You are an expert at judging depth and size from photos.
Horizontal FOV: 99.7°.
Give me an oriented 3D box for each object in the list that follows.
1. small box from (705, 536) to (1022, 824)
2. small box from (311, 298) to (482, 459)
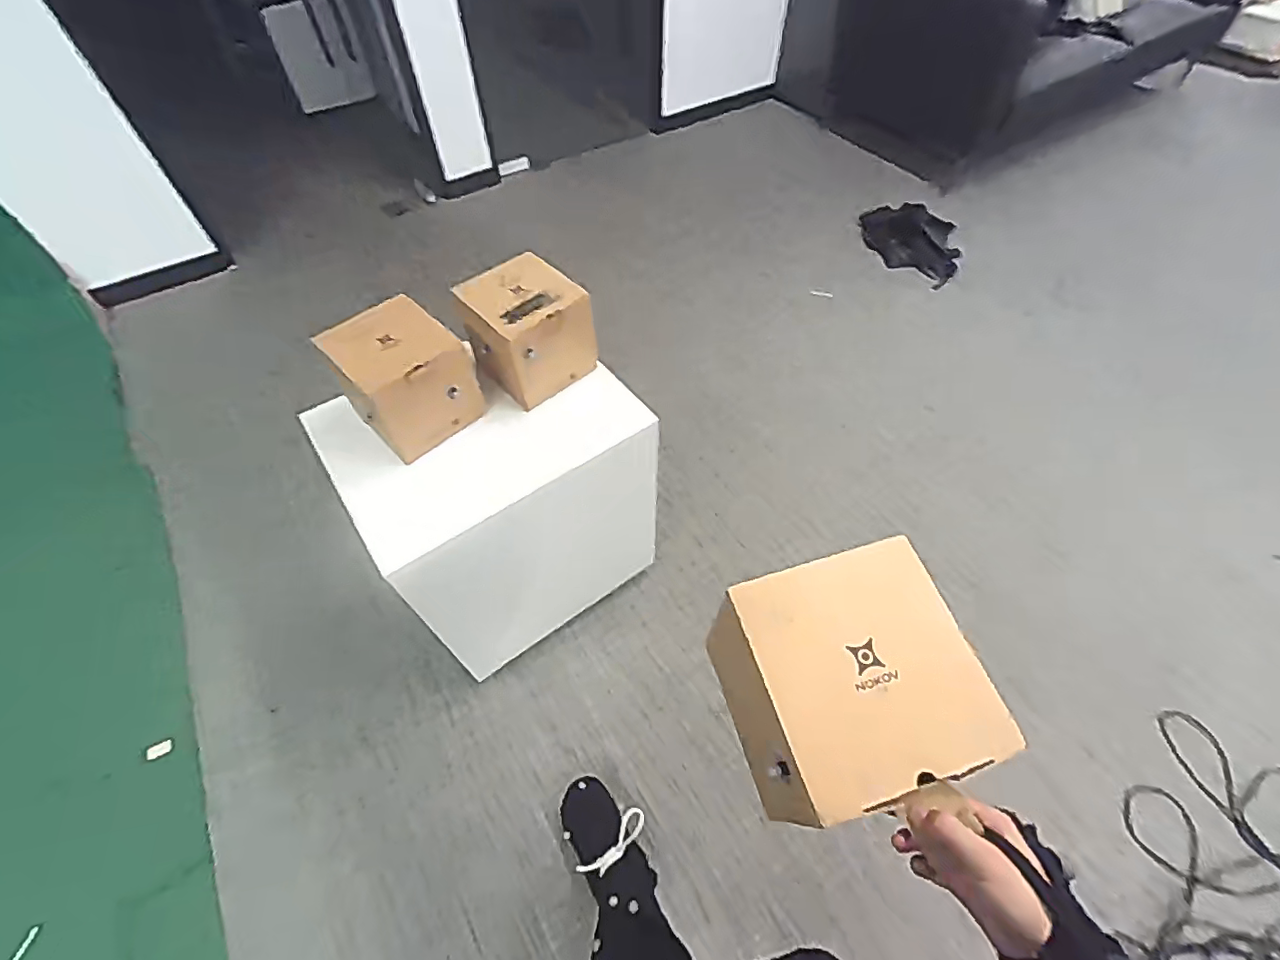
[{"bbox_3d":[0.167,0.177,0.478,0.168,0.176,0.179,-15,62,-10],"label":"small box"},{"bbox_3d":[-0.387,-0.158,0.889,0.179,0.176,0.168,38,62,24],"label":"small box"}]
